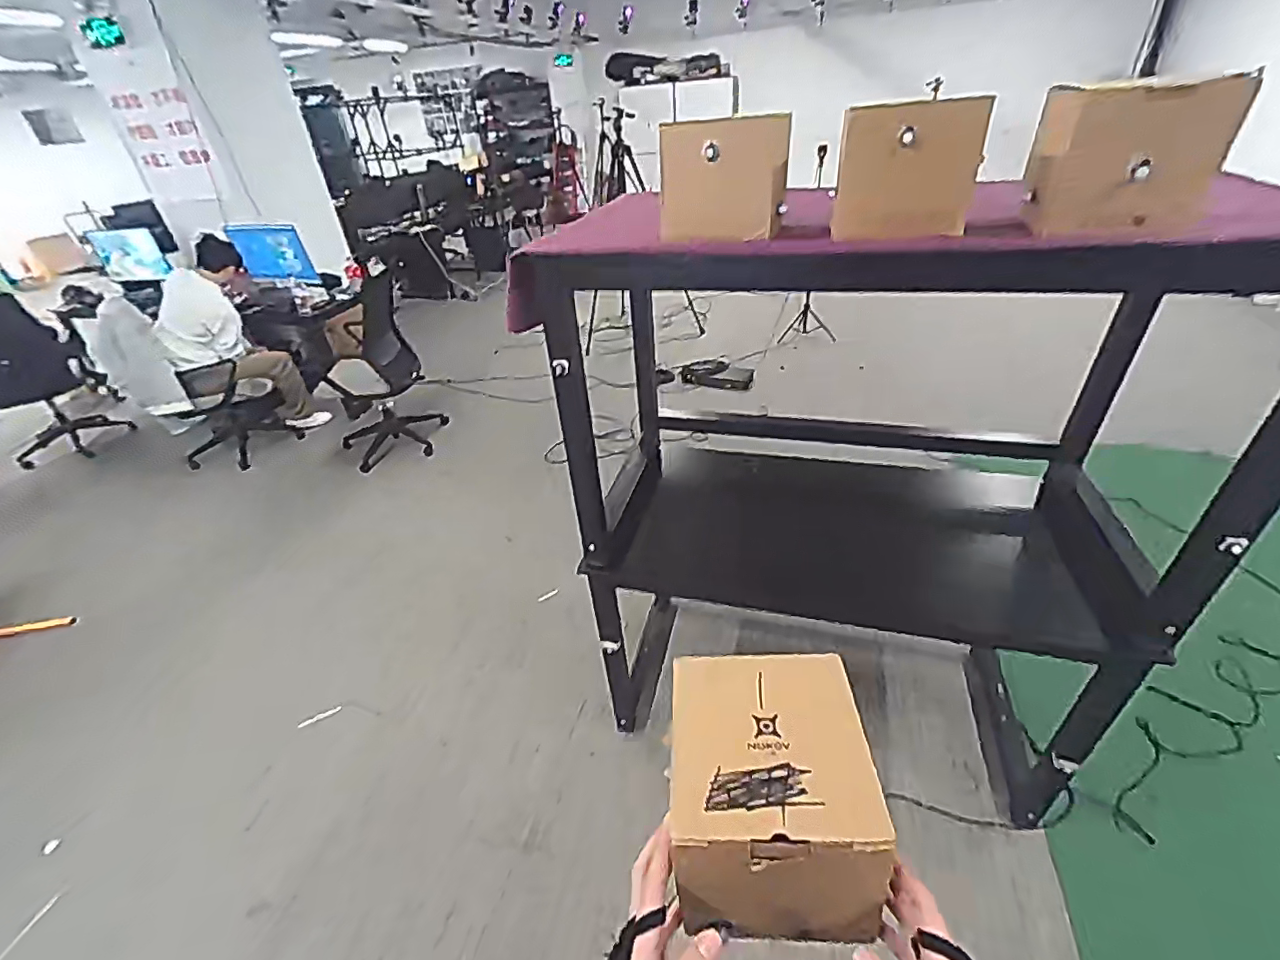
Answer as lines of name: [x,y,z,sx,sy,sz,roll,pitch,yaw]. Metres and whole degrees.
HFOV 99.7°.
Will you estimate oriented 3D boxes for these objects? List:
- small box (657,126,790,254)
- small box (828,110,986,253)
small box: [0.138,-0.472,0.883,0.179,0.176,0.168,9,36,19]
small box: [0.384,-0.447,0.812,0.179,0.176,0.168,5,33,16]
